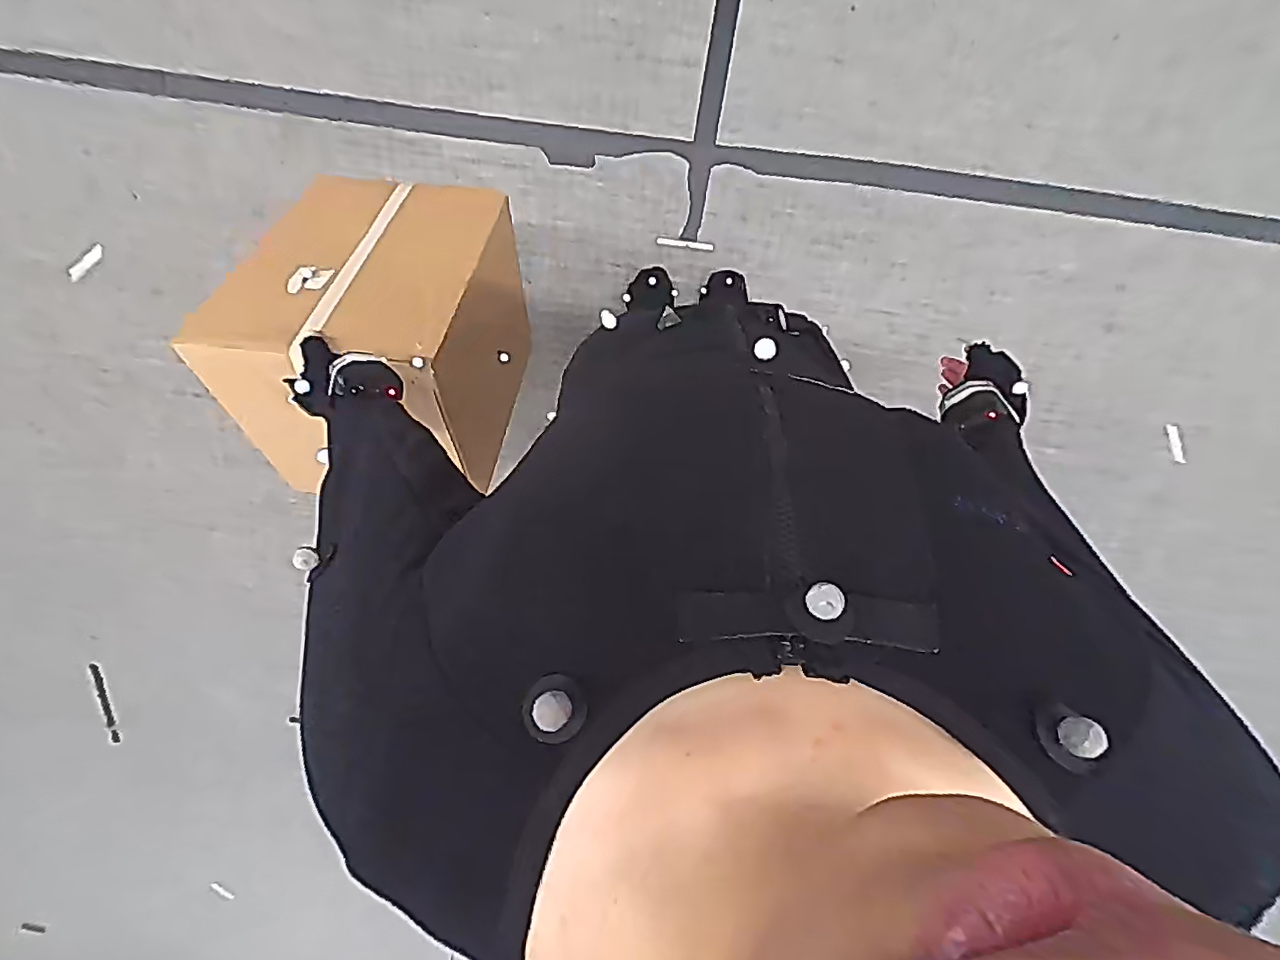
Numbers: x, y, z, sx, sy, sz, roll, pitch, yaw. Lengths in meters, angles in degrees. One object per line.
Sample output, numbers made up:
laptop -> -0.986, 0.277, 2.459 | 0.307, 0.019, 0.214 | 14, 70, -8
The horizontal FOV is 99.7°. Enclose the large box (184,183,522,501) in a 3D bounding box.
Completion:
large box -> -0.397, -0.223, 0.888 | 0.320, 0.408, 0.320 | 5, 145, 2
